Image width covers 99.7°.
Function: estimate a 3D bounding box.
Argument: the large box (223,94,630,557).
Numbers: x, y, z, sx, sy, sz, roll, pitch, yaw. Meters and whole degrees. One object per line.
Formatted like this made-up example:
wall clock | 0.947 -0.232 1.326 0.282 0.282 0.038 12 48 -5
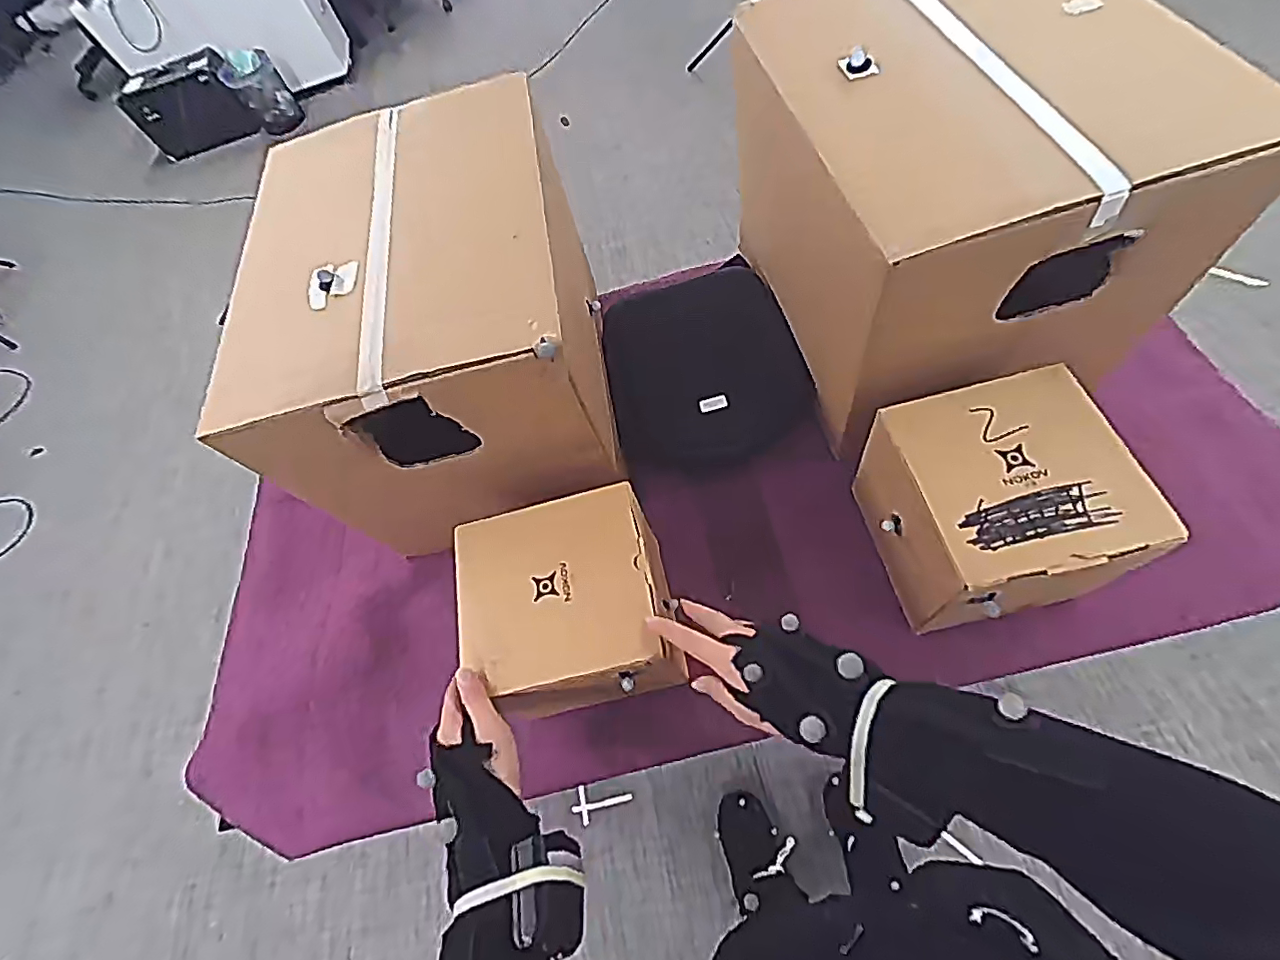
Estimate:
large box | -0.217 -0.164 0.662 0.320 0.320 0.408 -14 64 5
